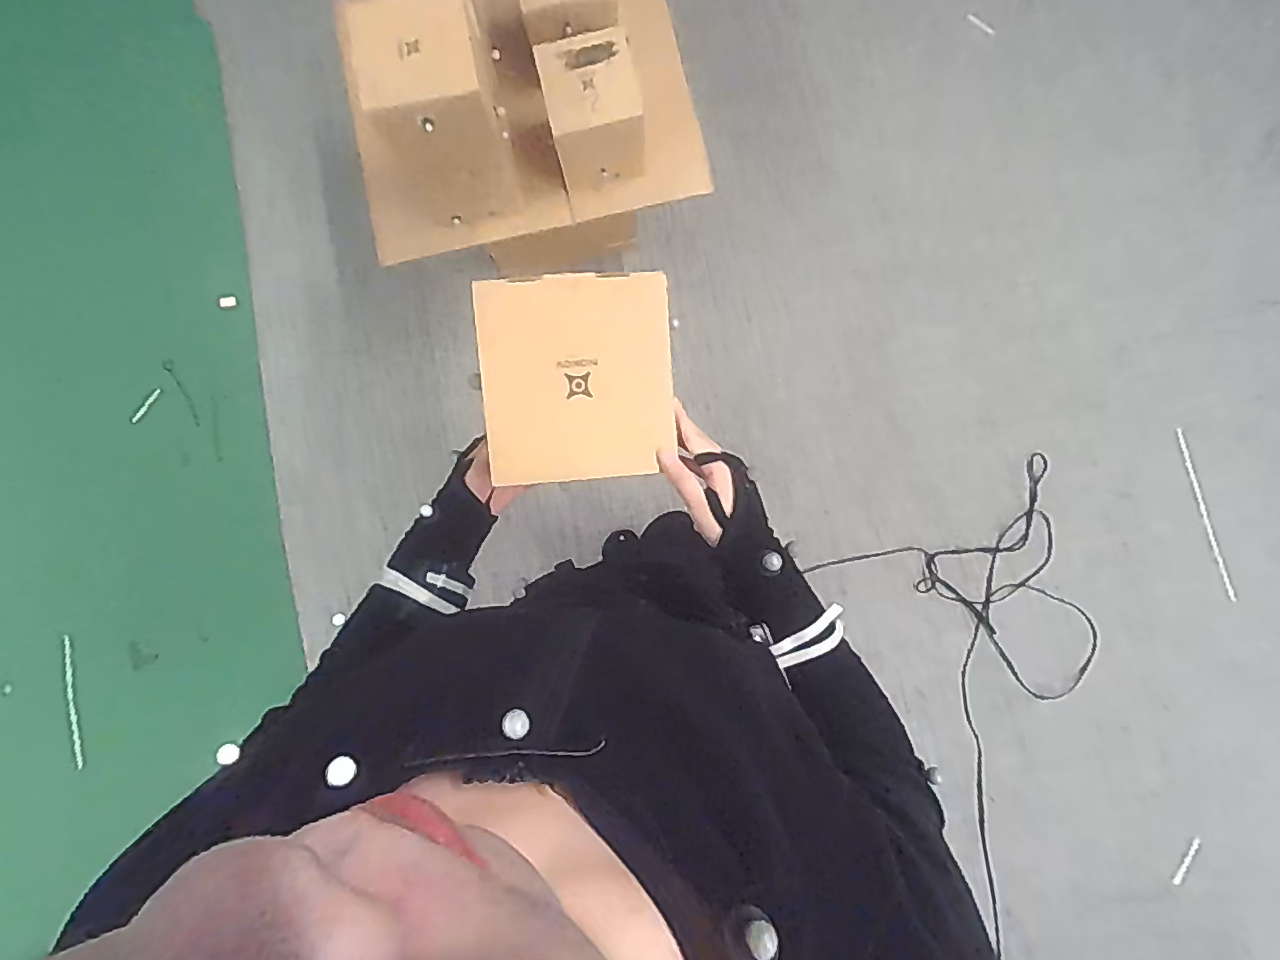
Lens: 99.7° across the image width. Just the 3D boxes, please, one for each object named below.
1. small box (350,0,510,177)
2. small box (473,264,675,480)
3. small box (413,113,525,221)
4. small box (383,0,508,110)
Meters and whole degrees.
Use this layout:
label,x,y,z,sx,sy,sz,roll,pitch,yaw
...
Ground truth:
label,x,y,z,sx,sy,sz,roll,pitch,yaw
small box,-0.324,-0.616,0.861,0.179,0.176,0.168,-10,87,0
small box,-0.059,-0.100,0.544,0.168,0.176,0.179,-5,95,-4
small box,-0.327,-0.618,1.025,0.168,0.176,0.179,-11,85,1
small box,-0.370,-0.836,1.043,0.168,0.176,0.179,-14,84,2
